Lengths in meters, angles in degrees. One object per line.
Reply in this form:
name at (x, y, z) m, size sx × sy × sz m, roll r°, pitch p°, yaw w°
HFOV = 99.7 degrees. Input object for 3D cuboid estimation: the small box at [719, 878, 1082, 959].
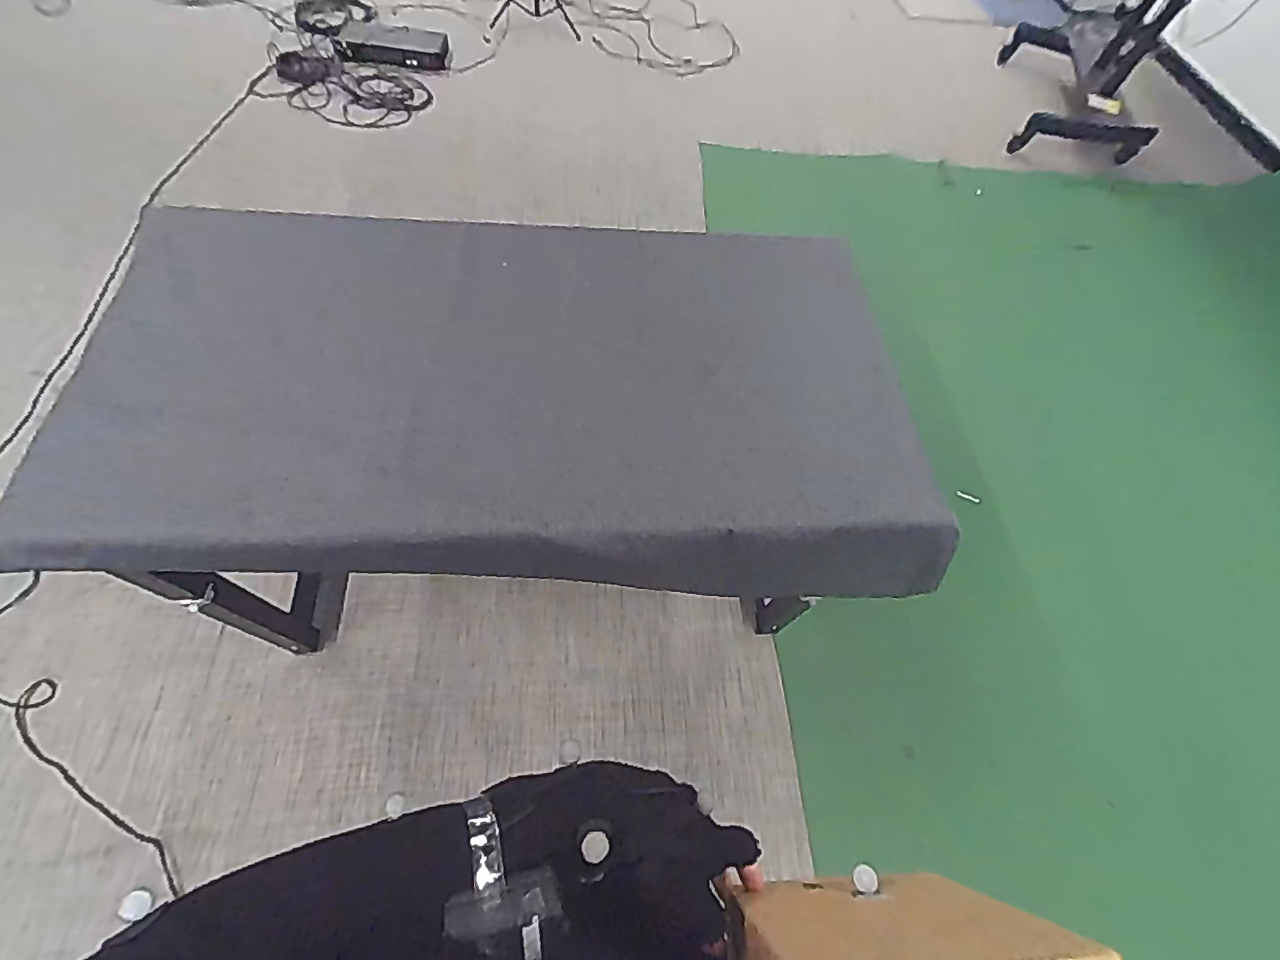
small box at (0.144, 0.351, 0.303) m, size 0.168 × 0.176 × 0.179 m, roll 1°, pitch 64°, yaw -4°
